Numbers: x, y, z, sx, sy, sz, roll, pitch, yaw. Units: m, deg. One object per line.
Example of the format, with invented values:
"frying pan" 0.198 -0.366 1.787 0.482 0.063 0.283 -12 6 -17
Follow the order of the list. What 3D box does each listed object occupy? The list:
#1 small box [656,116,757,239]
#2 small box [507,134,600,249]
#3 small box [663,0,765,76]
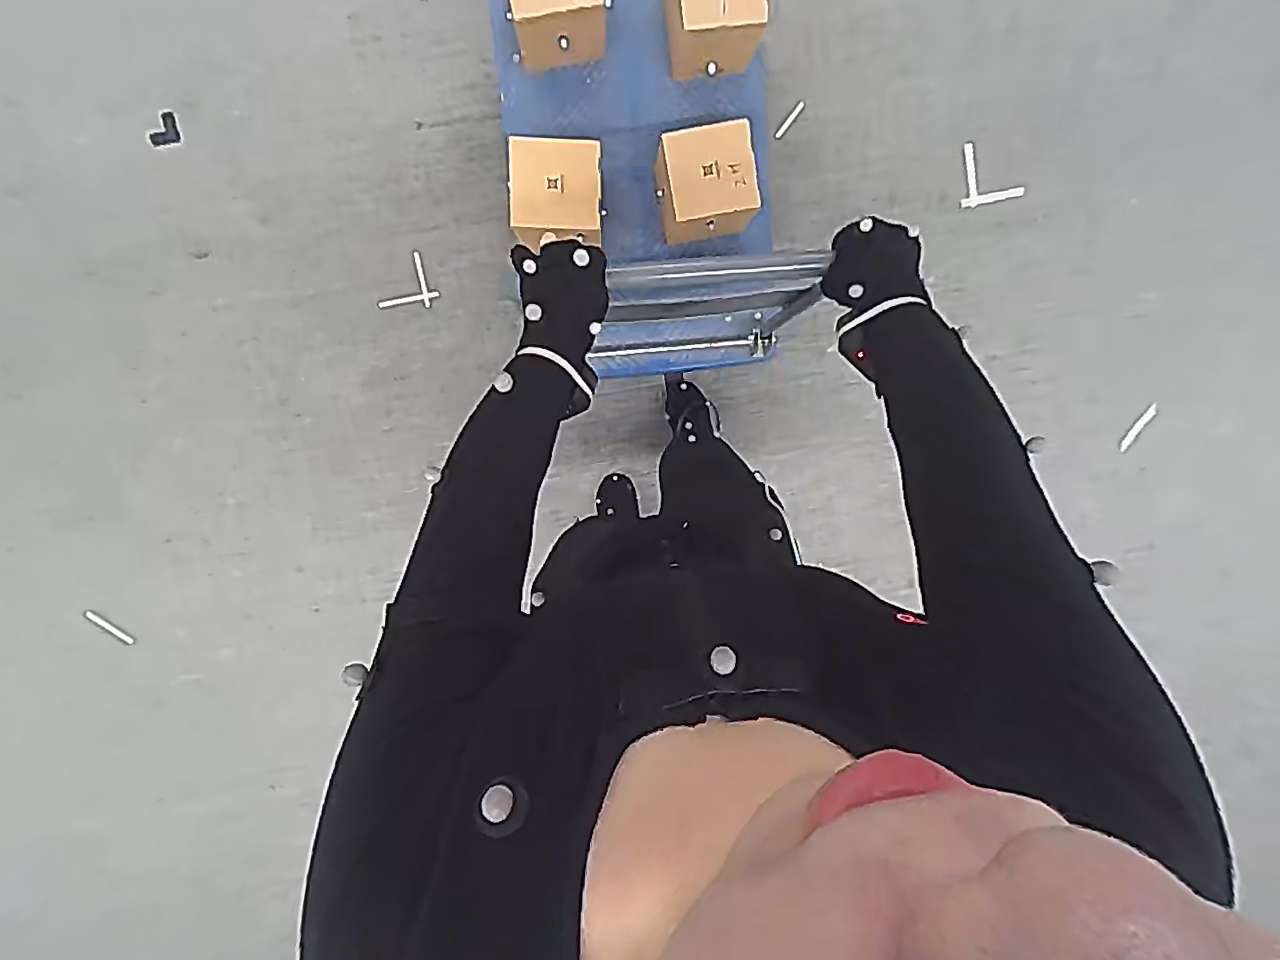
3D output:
"small box" 0.132 -0.625 1.140 0.179 0.176 0.168 -11 99 -2
"small box" -0.173 -0.591 1.126 0.179 0.176 0.168 0 98 -5
"small box" 0.142 -0.963 1.090 0.168 0.176 0.179 -8 100 -2
